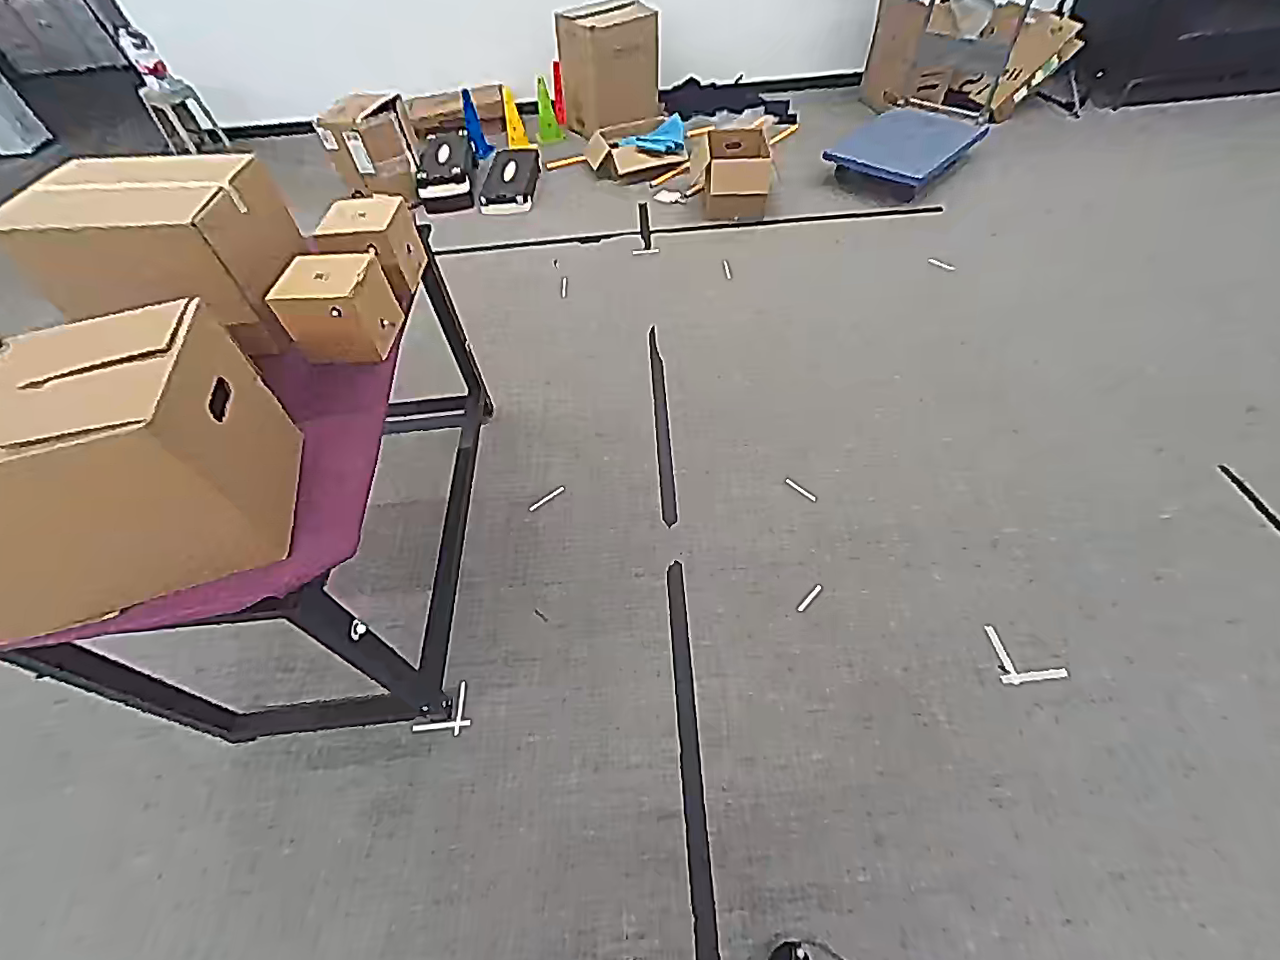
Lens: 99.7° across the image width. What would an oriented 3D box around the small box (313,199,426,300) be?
[{"bbox_3d":[-0.655,-0.566,1.338,0.179,0.176,0.168,-4,51,3],"label":"small box"}]
